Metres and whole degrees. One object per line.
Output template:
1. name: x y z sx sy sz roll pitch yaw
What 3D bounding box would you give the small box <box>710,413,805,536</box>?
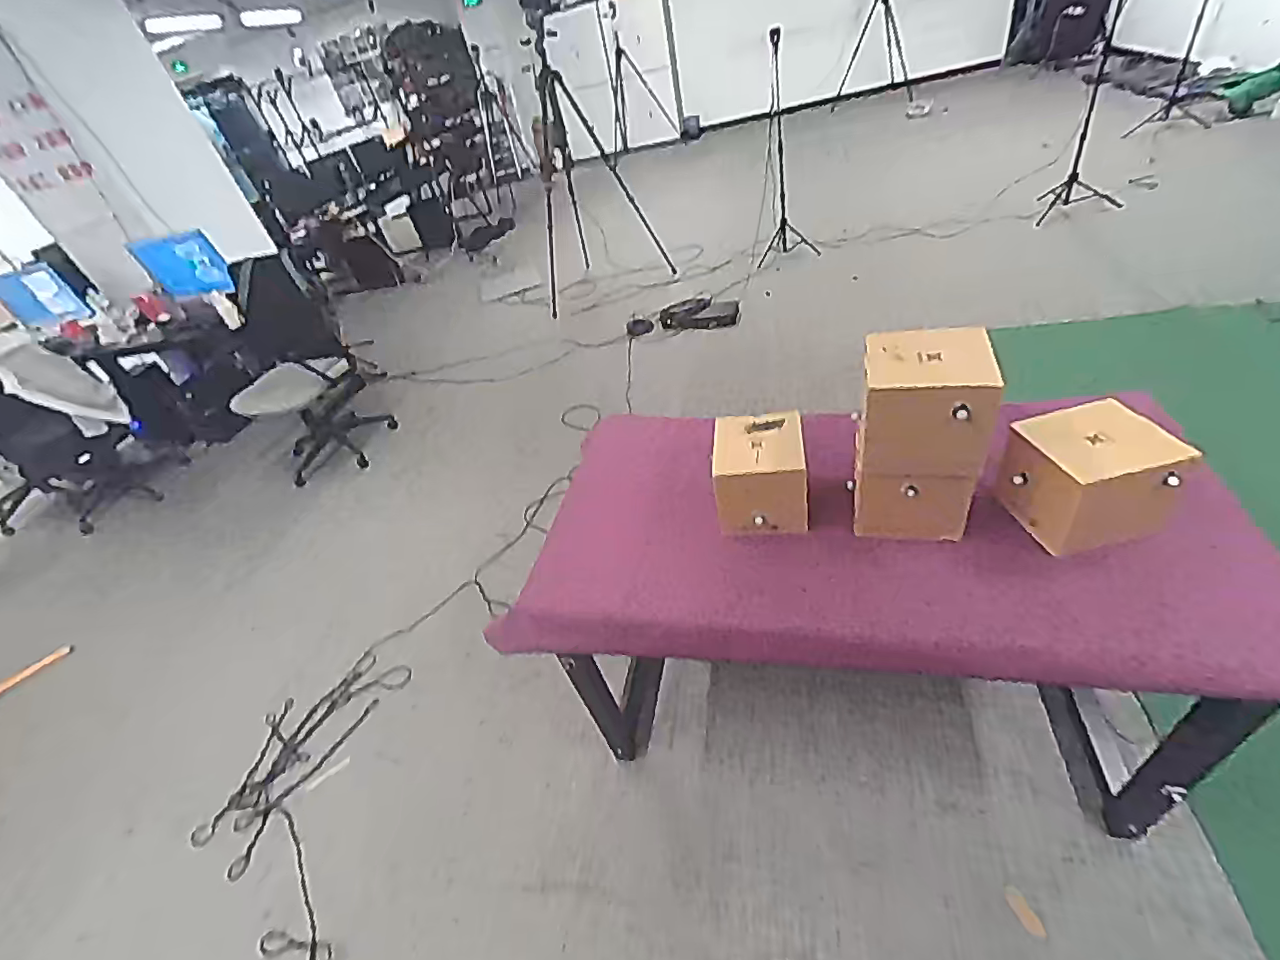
1. small box: 0.232 -0.010 1.058 0.168 0.176 0.179 -3 41 15

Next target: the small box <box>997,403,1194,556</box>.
1. small box: 0.722 0.002 0.888 0.179 0.176 0.168 -14 39 2

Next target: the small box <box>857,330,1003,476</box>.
1. small box: 0.447 -0.121 0.862 0.179 0.176 0.168 2 42 21

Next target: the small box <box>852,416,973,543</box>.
1. small box: 0.478 -0.004 0.974 0.179 0.176 0.168 2 43 20
